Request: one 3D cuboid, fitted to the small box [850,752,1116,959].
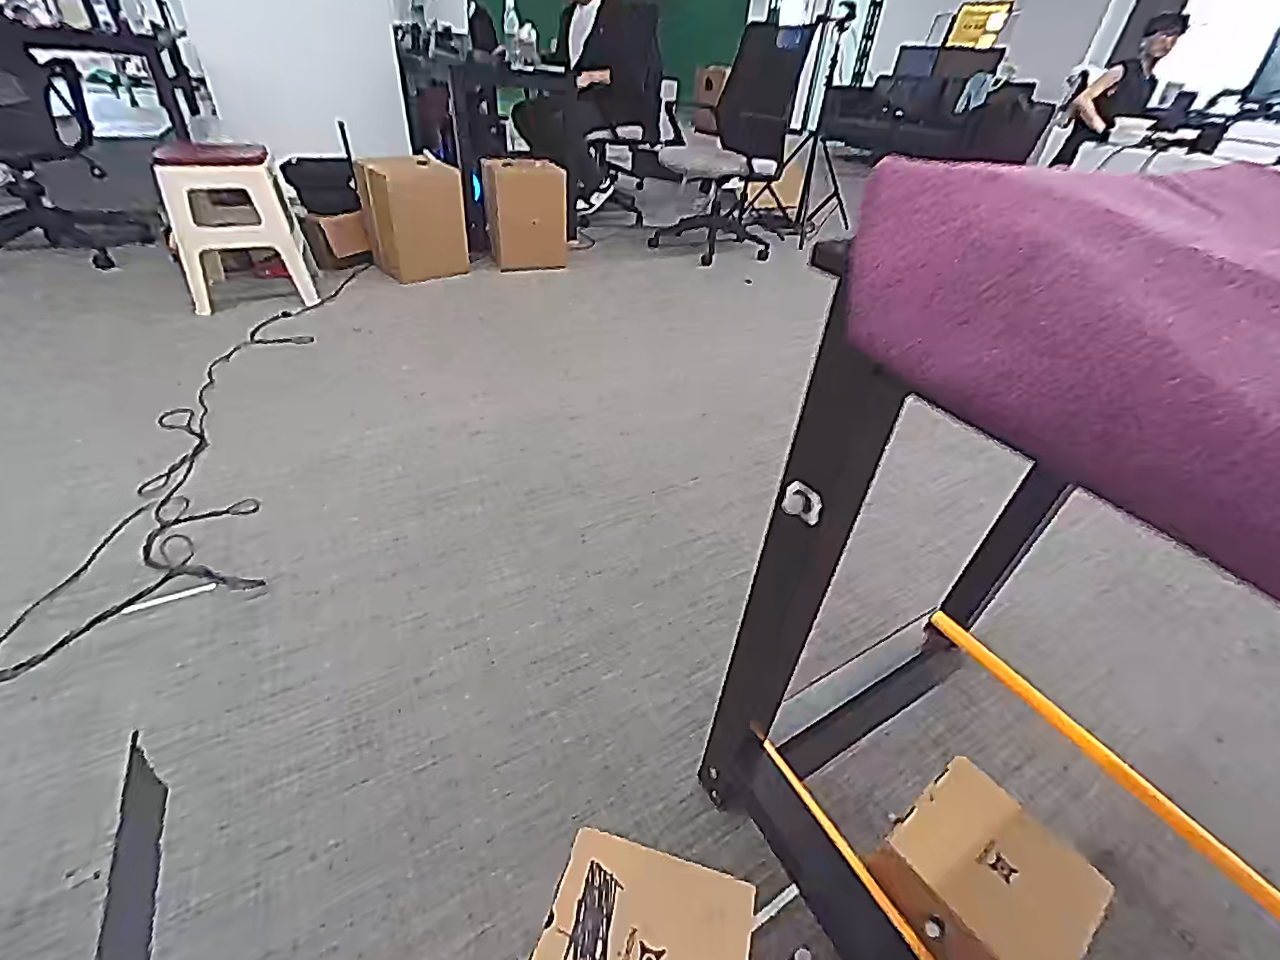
[{"bbox_3d":[0.381,0.470,0.629,0.168,0.176,0.179,-23,45,-31],"label":"small box"}]
